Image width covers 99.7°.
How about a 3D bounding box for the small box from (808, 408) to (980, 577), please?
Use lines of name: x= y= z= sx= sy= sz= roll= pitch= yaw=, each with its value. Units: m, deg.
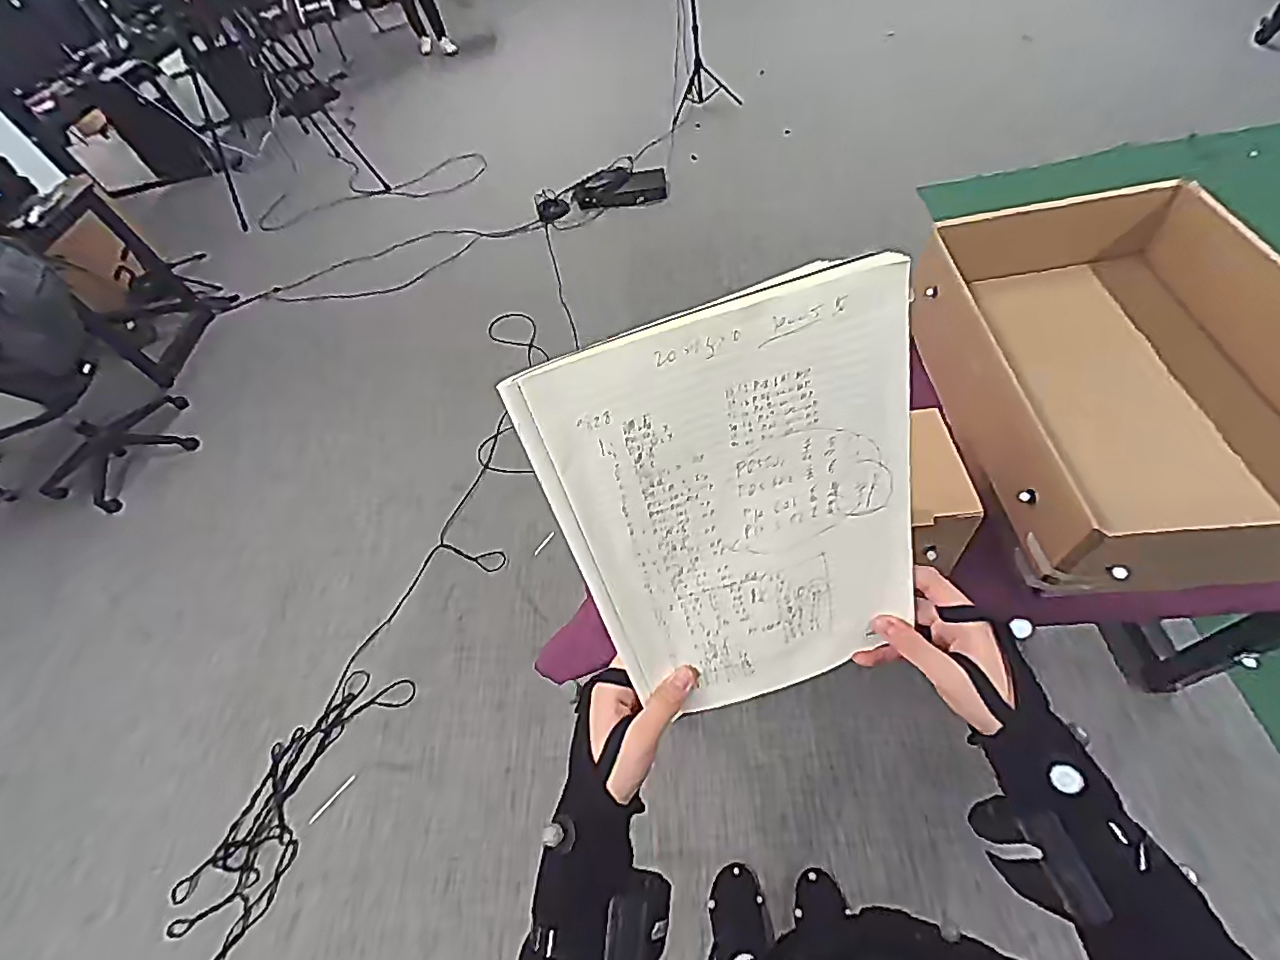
small box: x=0.337 y=0.026 z=0.759 sx=0.168 sy=0.176 sz=0.179 roll=-6 pitch=52 yaw=8
